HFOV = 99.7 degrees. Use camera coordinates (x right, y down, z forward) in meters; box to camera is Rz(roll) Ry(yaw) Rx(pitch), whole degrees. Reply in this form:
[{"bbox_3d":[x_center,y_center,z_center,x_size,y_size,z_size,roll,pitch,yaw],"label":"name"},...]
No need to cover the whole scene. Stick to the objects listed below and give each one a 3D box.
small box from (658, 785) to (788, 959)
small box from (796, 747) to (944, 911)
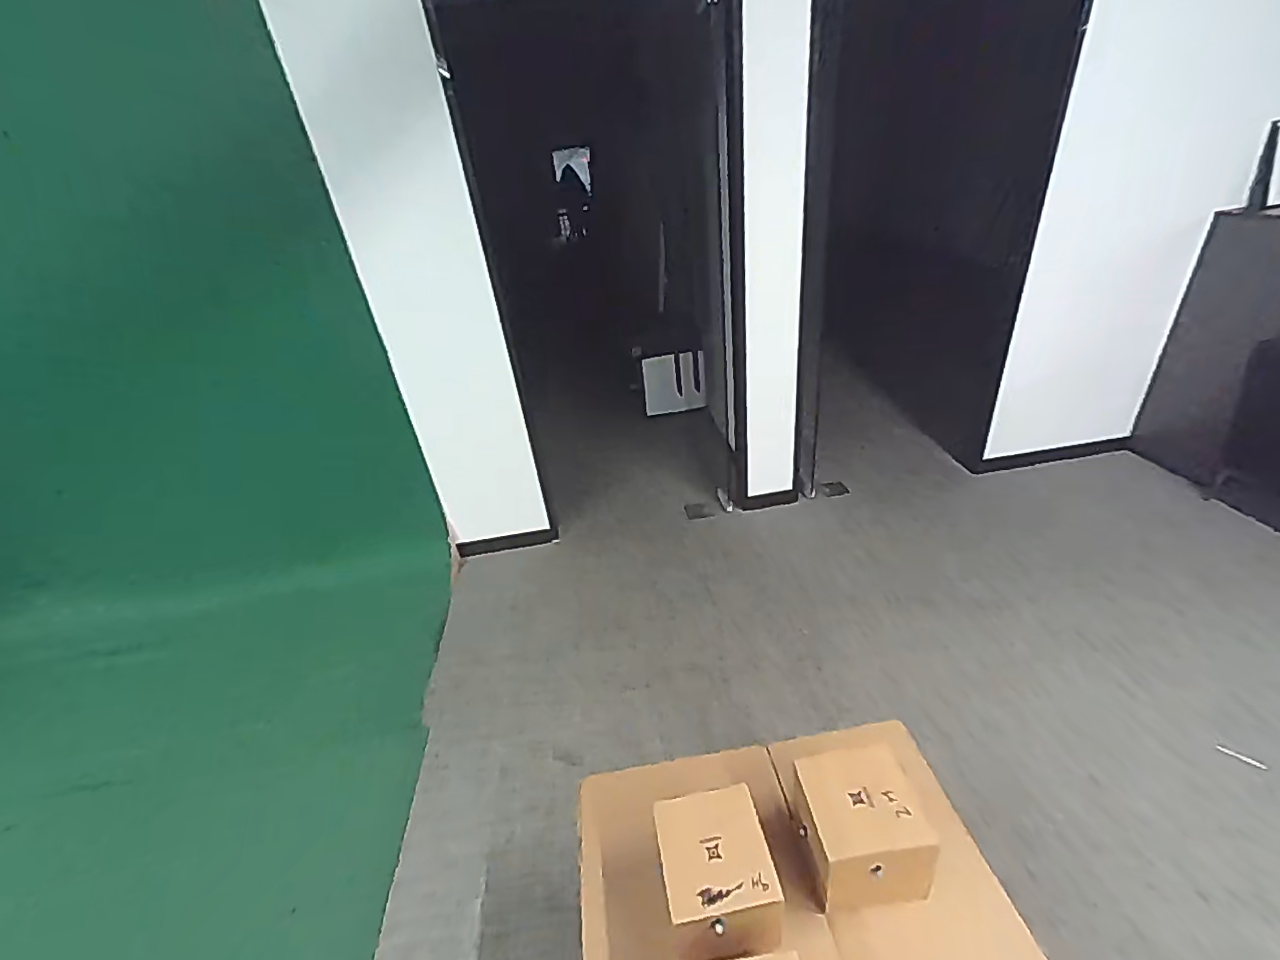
[{"bbox_3d":[0.128,0.637,0.870,0.168,0.176,0.179,-11,29,-3],"label":"small box"},{"bbox_3d":[0.374,0.584,0.906,0.179,0.176,0.168,-9,30,1],"label":"small box"}]
